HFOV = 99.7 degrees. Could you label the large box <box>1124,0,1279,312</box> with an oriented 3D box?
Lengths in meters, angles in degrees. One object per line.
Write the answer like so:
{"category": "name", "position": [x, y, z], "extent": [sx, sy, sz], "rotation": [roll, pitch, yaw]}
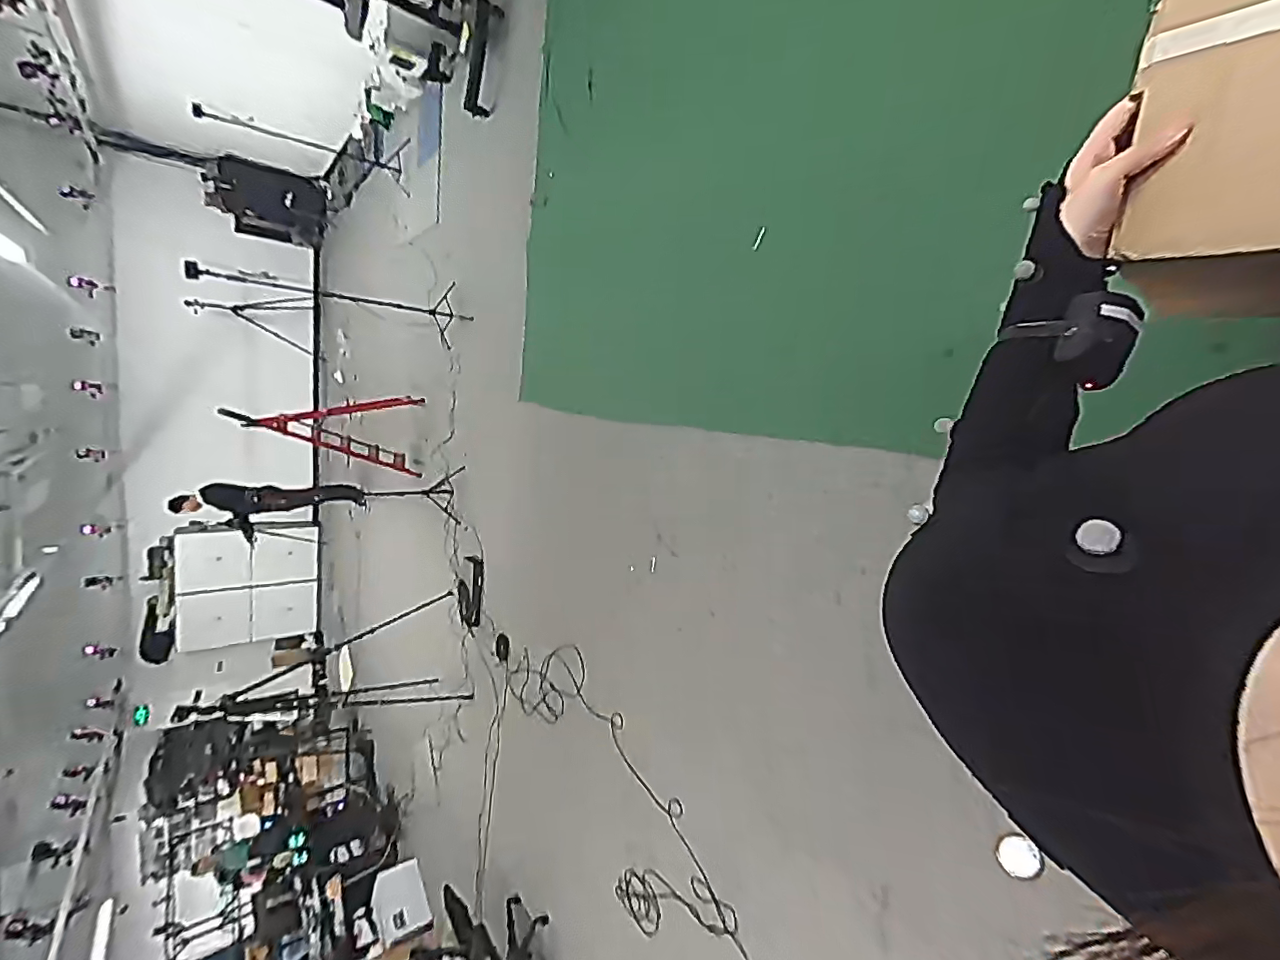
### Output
{"category": "large box", "position": [0.644, -0.306, 0.371], "extent": [0.408, 0.320, 0.320], "rotation": [16, 105, 46]}
